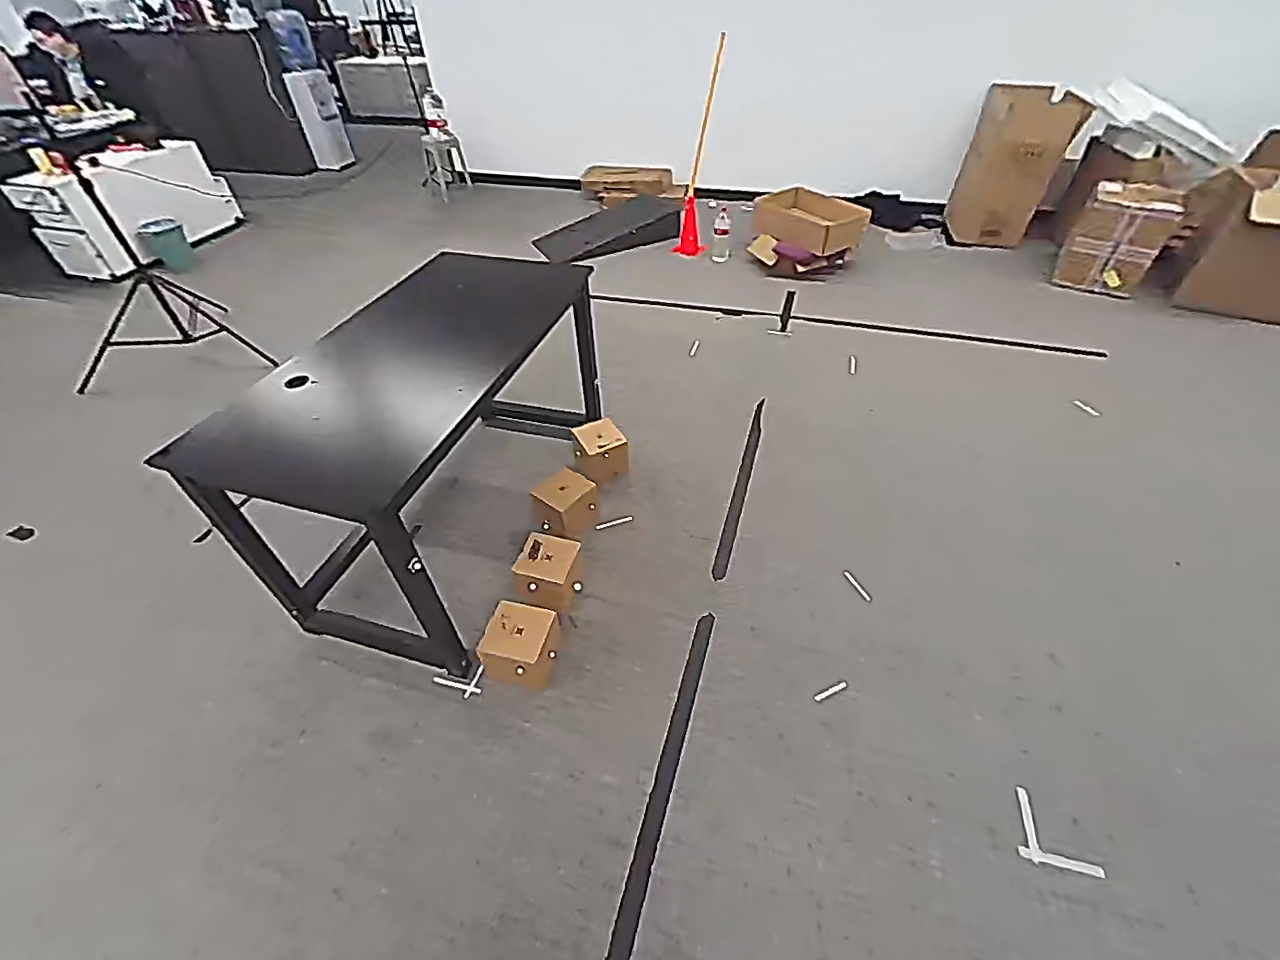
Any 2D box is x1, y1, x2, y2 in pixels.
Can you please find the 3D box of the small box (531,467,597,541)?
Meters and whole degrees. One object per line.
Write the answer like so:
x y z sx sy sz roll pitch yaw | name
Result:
-0.270 0.091 1.965 0.168 0.176 0.179 27 52 27 | small box

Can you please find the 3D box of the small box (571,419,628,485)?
-0.161 -0.112 2.163 0.168 0.176 0.179 -23 48 -20 | small box

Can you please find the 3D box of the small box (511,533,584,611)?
-0.291 0.301 1.750 0.179 0.176 0.168 11 46 11 | small box
